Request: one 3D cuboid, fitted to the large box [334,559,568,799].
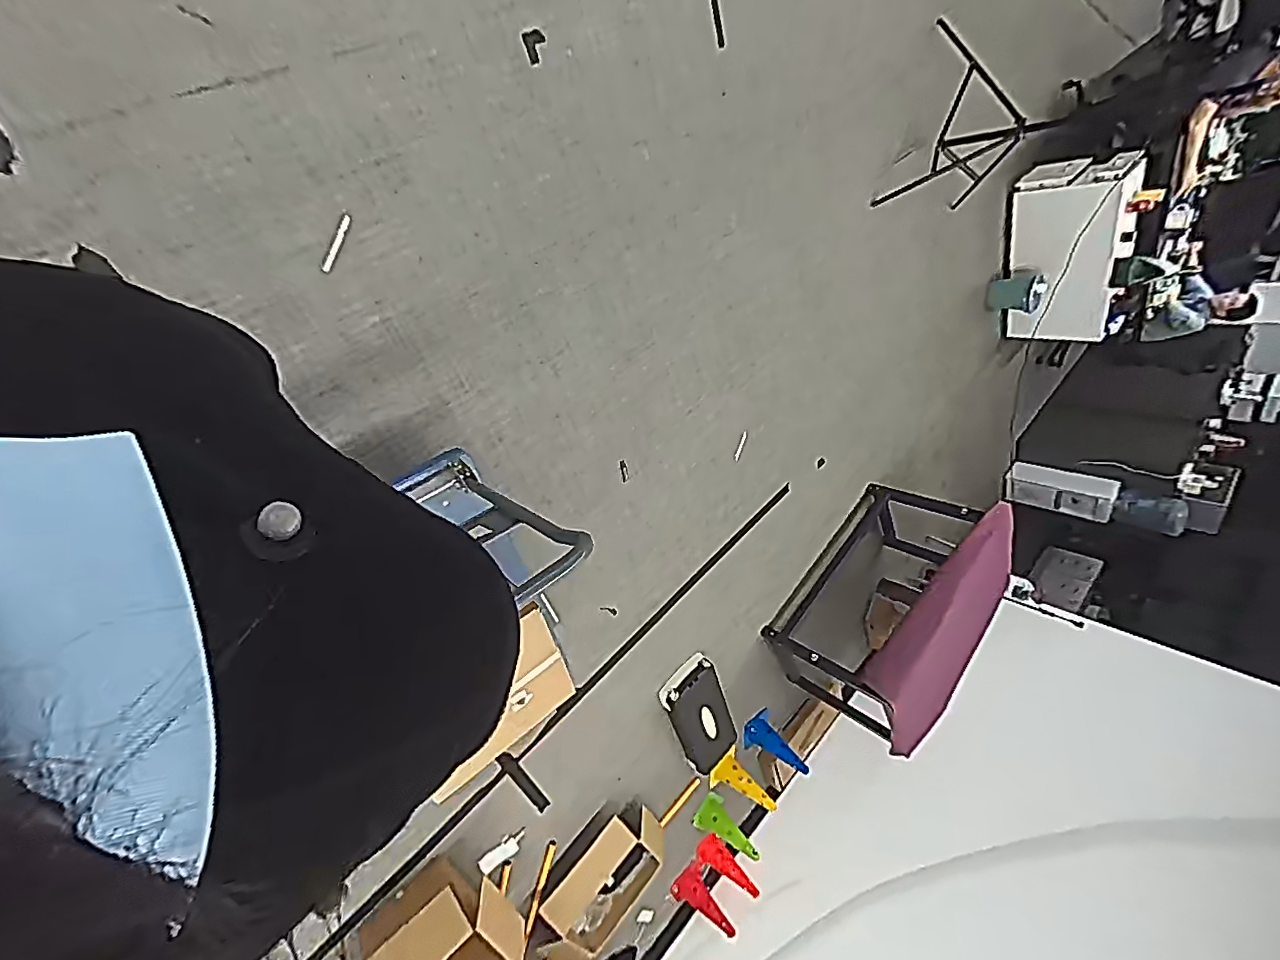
[{"bbox_3d":[-0.460,0.466,1.349,0.408,0.320,0.320,-33,125,-30],"label":"large box"}]
